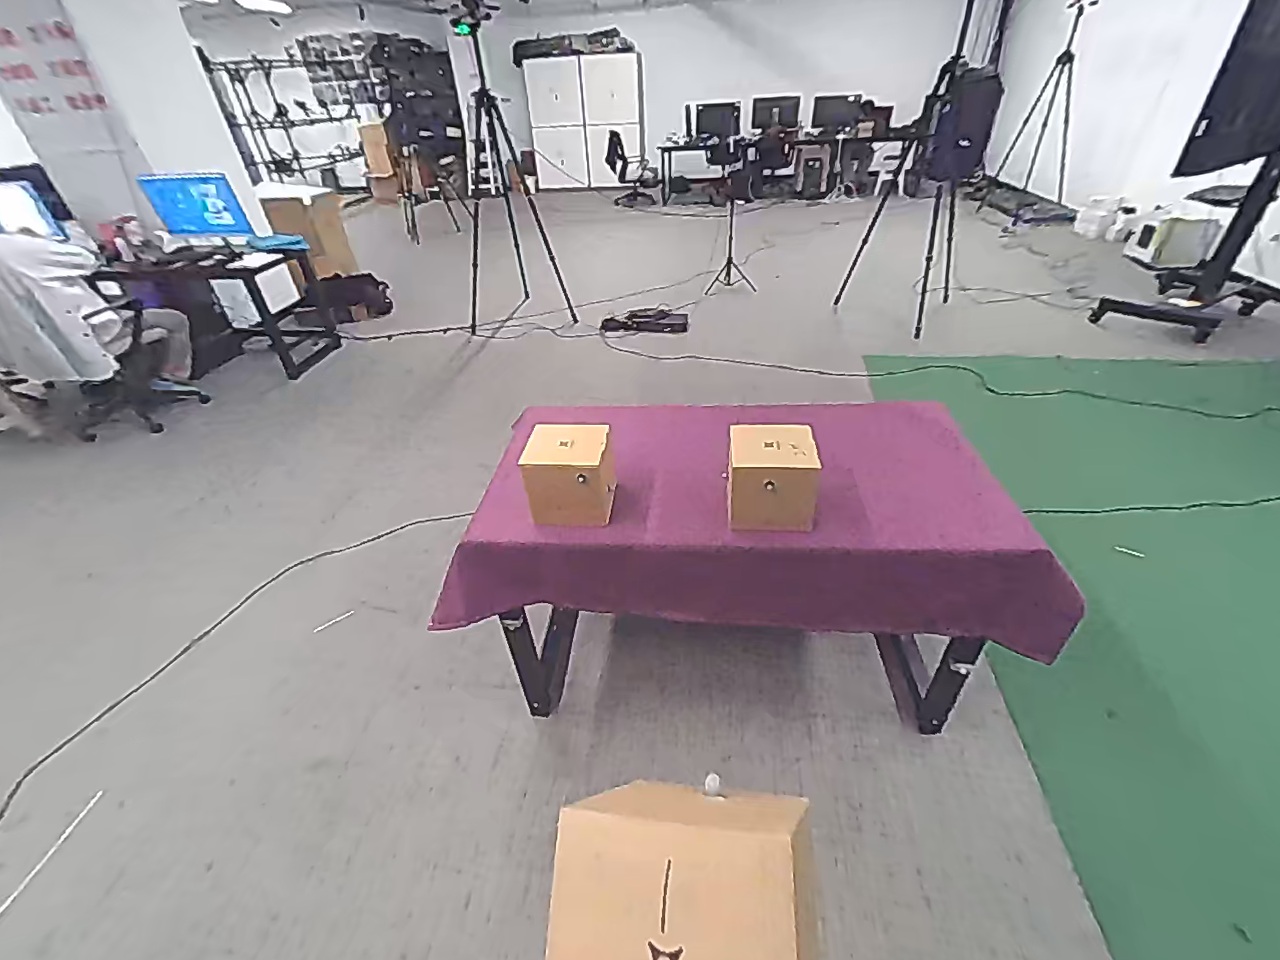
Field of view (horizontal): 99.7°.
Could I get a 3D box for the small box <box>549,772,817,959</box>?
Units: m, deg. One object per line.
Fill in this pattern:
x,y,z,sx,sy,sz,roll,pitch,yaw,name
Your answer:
0.043,0.337,0.413,0.168,0.176,0.179,-5,67,19,small box

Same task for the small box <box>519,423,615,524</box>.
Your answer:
-0.156,-0.015,1.223,0.179,0.176,0.168,2,37,5,small box

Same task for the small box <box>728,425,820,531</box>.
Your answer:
0.281,-0.004,1.173,0.179,0.176,0.168,2,37,7,small box
